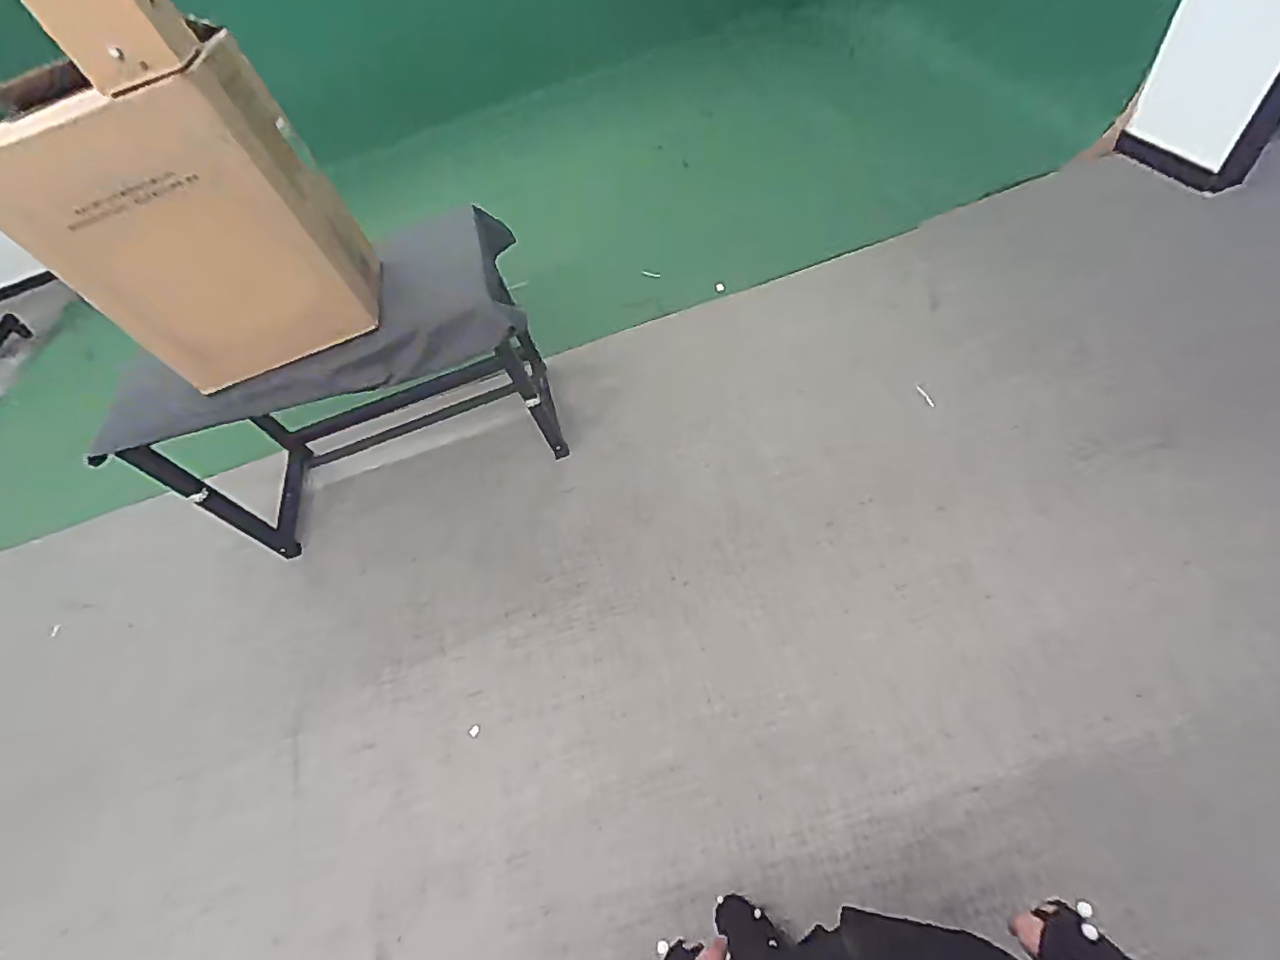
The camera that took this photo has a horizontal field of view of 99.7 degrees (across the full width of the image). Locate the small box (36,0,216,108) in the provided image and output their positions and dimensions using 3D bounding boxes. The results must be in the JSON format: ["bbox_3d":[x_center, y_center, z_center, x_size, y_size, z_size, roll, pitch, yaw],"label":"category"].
[{"bbox_3d":[-0.973,-0.857,1.046,0.168,0.176,0.179,-21,53,-1],"label":"small box"}]
